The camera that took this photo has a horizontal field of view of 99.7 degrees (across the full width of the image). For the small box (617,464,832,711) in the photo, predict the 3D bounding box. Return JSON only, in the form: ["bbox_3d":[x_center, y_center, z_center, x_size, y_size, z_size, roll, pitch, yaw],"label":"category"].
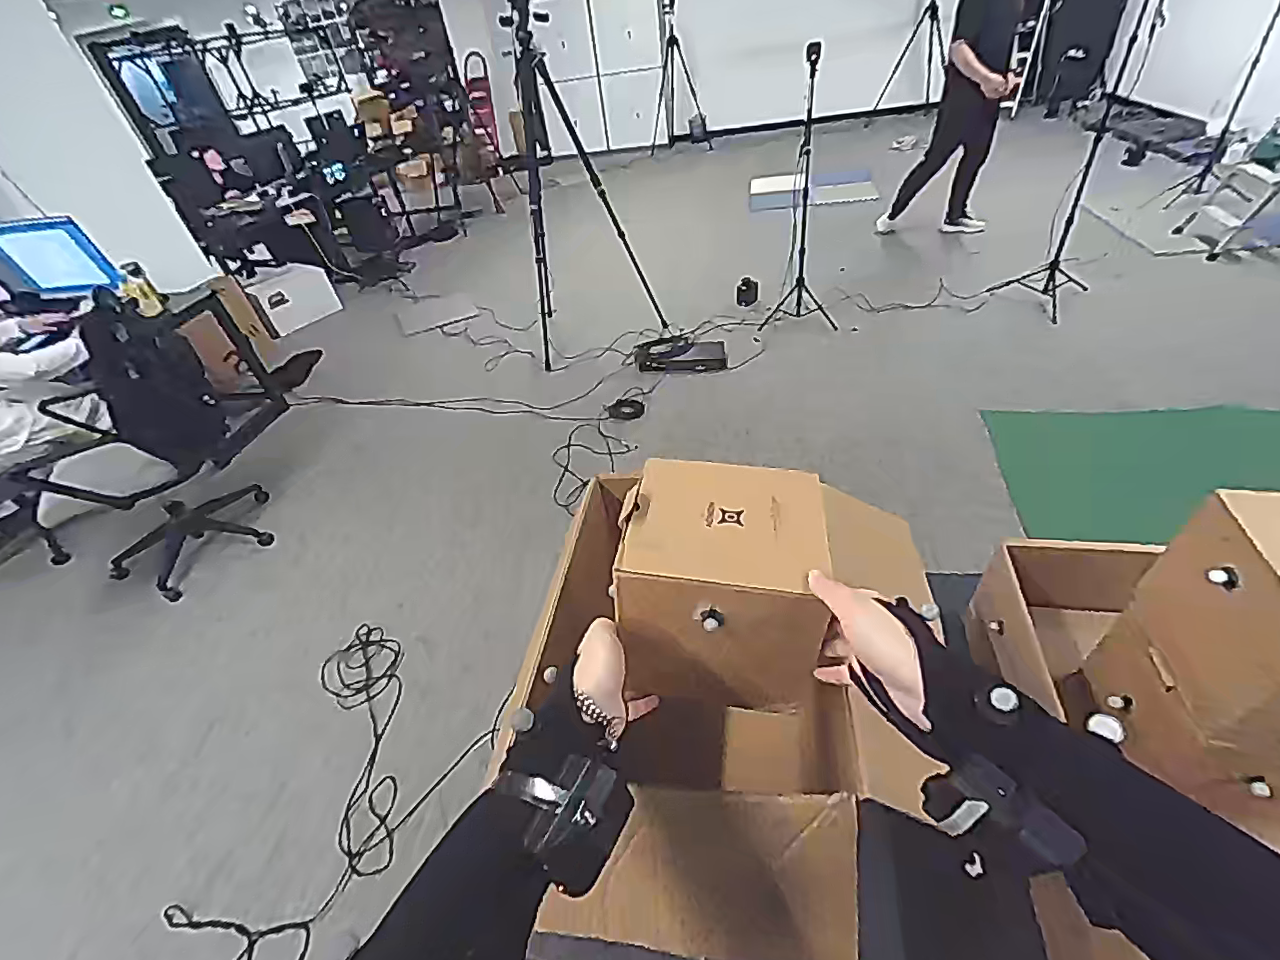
[{"bbox_3d":[0.079,0.105,0.541,0.179,0.176,0.168,7,36,8],"label":"small box"}]

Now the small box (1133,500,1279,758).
[{"bbox_3d":[0.621,0.143,0.505,0.168,0.176,0.179,3,44,15],"label":"small box"}]
